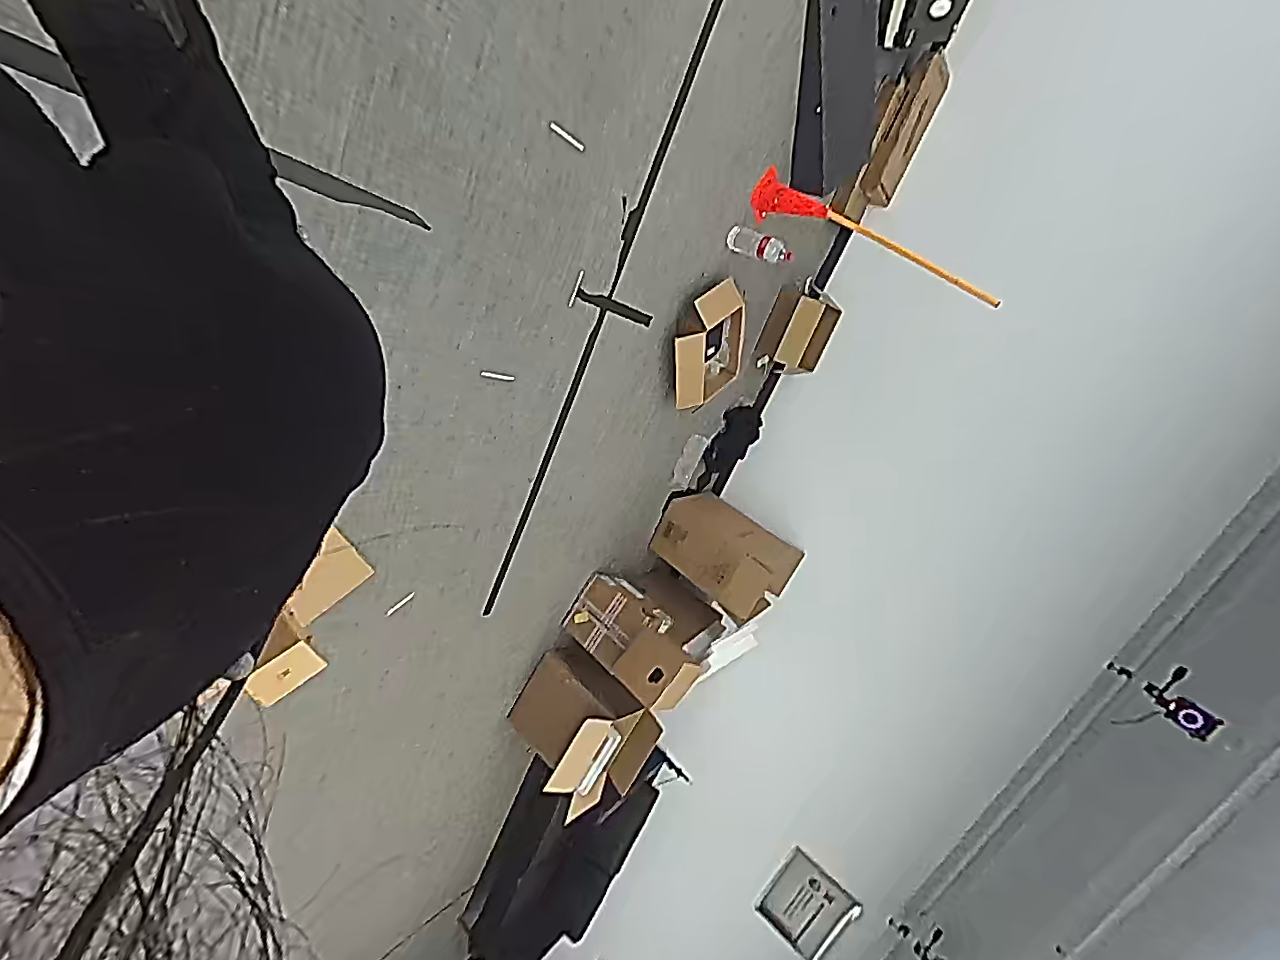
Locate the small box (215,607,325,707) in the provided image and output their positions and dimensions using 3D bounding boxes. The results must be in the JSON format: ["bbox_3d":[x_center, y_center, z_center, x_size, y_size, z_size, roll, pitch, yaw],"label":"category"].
[{"bbox_3d":[-1.038,0.491,1.518,0.179,0.176,0.168,-37,147,-28],"label":"small box"}]
